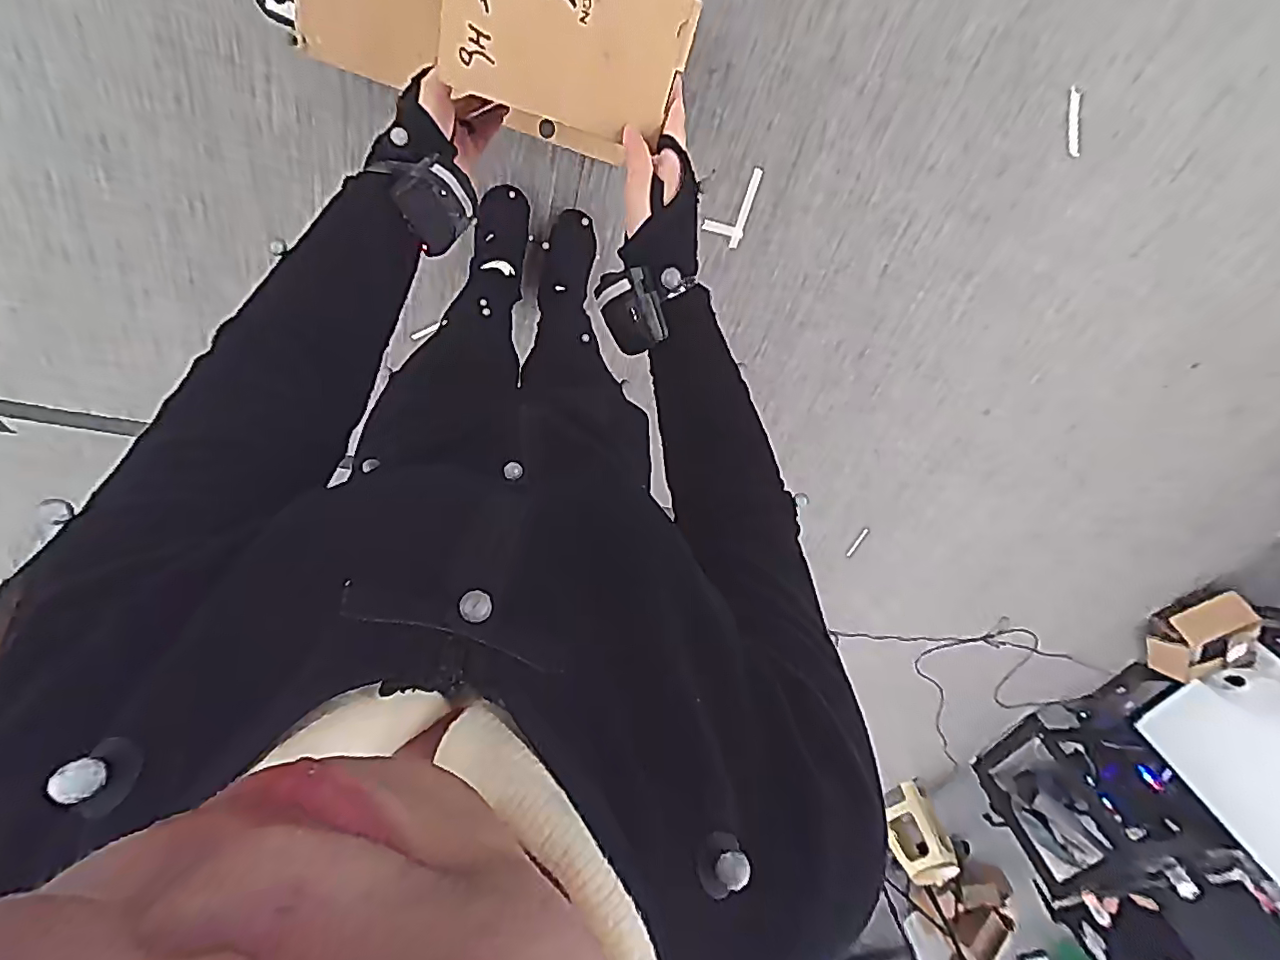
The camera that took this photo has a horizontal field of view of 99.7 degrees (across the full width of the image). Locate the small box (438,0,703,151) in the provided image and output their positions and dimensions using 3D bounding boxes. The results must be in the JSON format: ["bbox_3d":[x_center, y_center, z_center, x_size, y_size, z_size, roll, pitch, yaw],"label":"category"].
[{"bbox_3d":[-0.055,-0.393,0.438,0.179,0.176,0.168,9,122,-17],"label":"small box"}]

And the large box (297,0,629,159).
[{"bbox_3d":[-0.183,-0.675,0.721,0.408,0.320,0.320,10,123,-16],"label":"large box"}]
